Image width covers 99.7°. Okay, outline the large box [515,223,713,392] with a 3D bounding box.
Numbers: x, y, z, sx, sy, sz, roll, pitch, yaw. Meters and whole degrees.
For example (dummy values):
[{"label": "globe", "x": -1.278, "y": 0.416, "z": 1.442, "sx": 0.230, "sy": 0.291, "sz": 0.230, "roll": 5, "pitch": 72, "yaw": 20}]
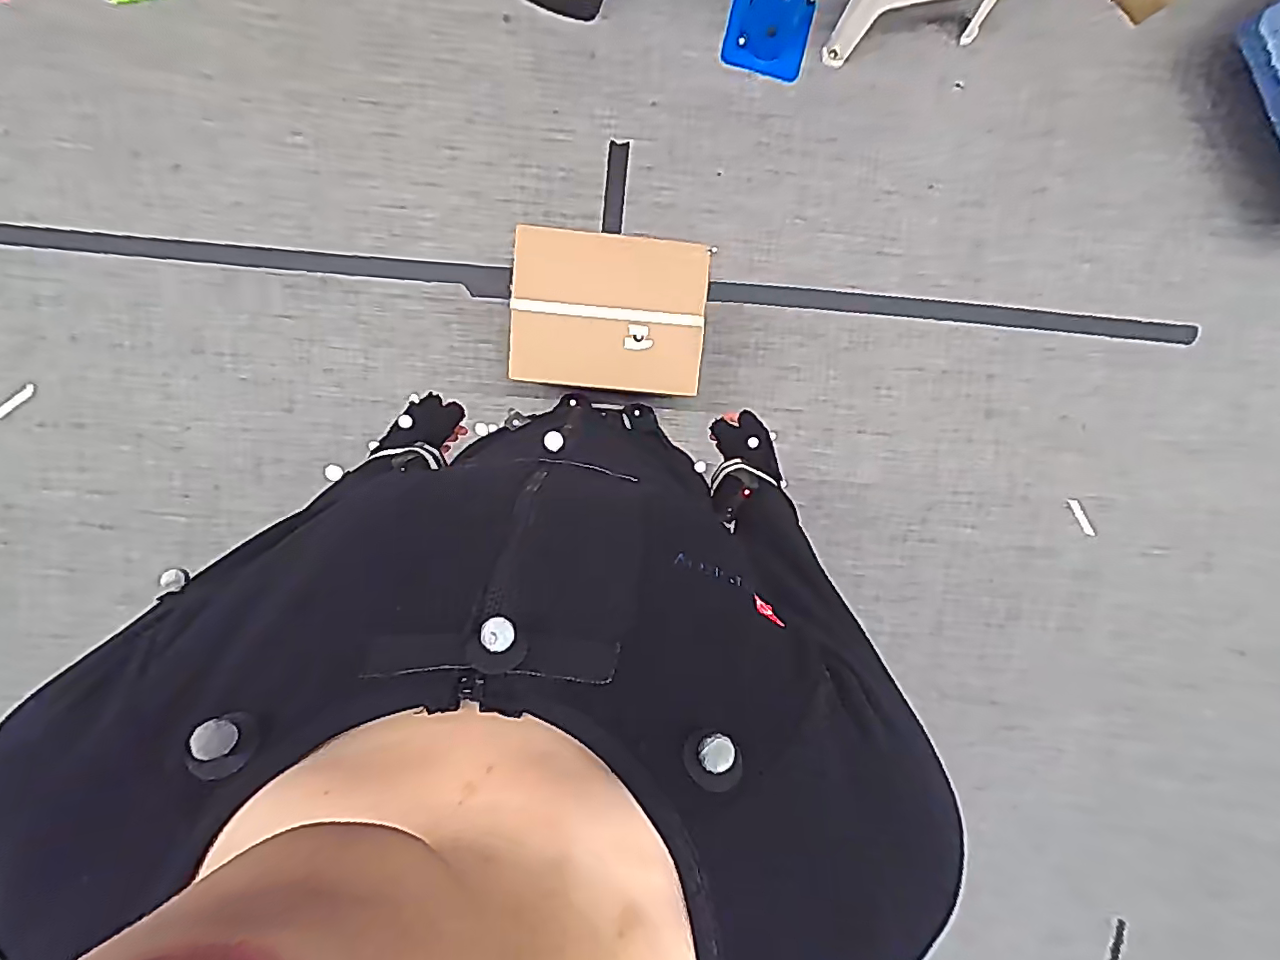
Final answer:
[{"label": "large box", "x": -0.067, "y": -0.379, "z": 1.274, "sx": 0.408, "sy": 0.320, "sz": 0.320, "roll": 4, "pitch": 99, "yaw": -4}]
